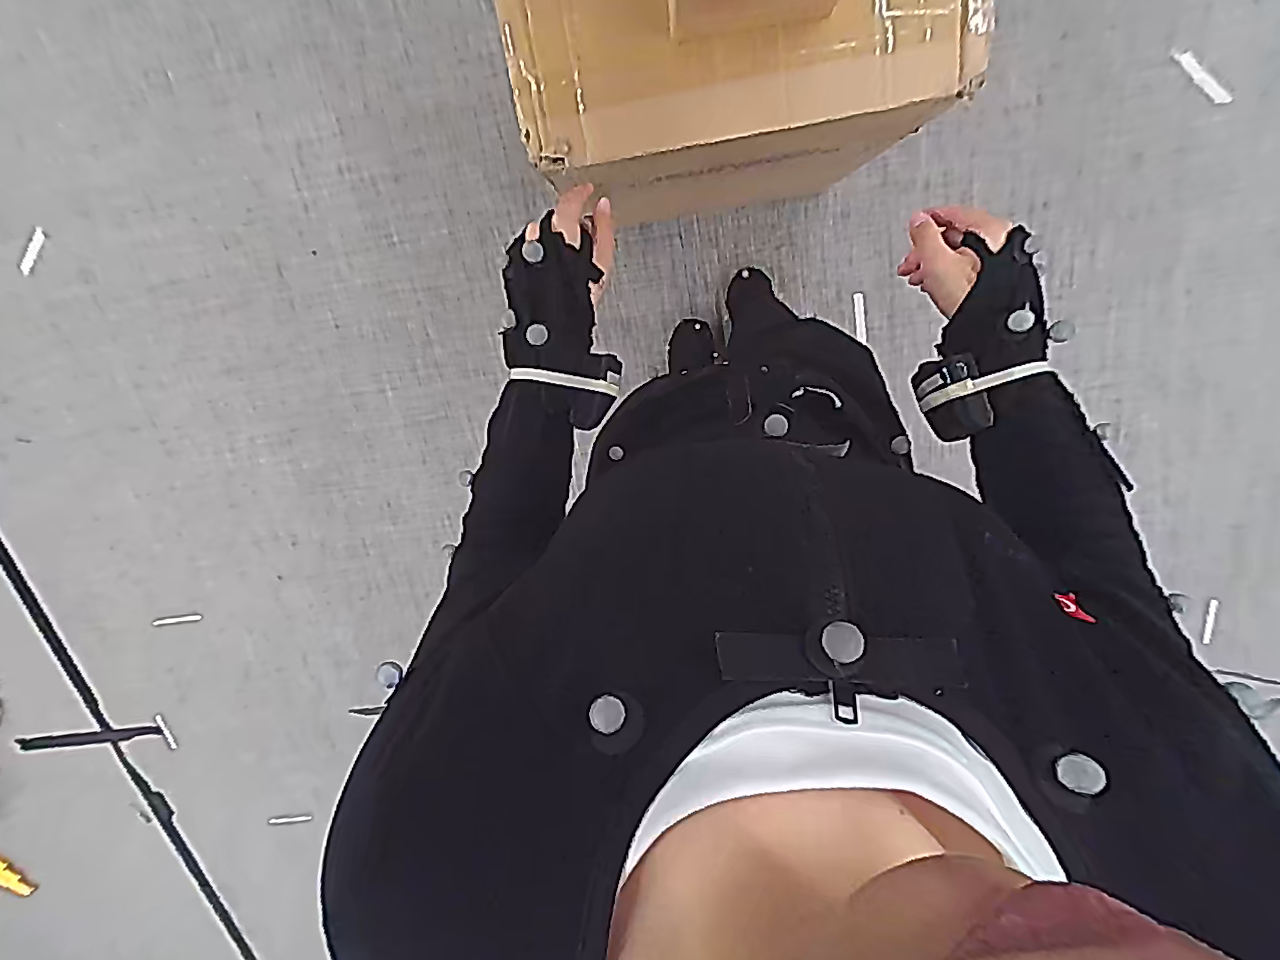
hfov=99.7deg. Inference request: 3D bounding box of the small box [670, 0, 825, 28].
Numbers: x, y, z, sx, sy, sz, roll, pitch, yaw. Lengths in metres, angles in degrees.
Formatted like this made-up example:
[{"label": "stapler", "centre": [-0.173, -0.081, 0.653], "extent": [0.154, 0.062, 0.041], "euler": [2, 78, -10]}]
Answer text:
[{"label": "small box", "centre": [0.108, -0.548, 0.484], "extent": [0.179, 0.176, 0.168], "euler": [-7, 108, 4]}]
